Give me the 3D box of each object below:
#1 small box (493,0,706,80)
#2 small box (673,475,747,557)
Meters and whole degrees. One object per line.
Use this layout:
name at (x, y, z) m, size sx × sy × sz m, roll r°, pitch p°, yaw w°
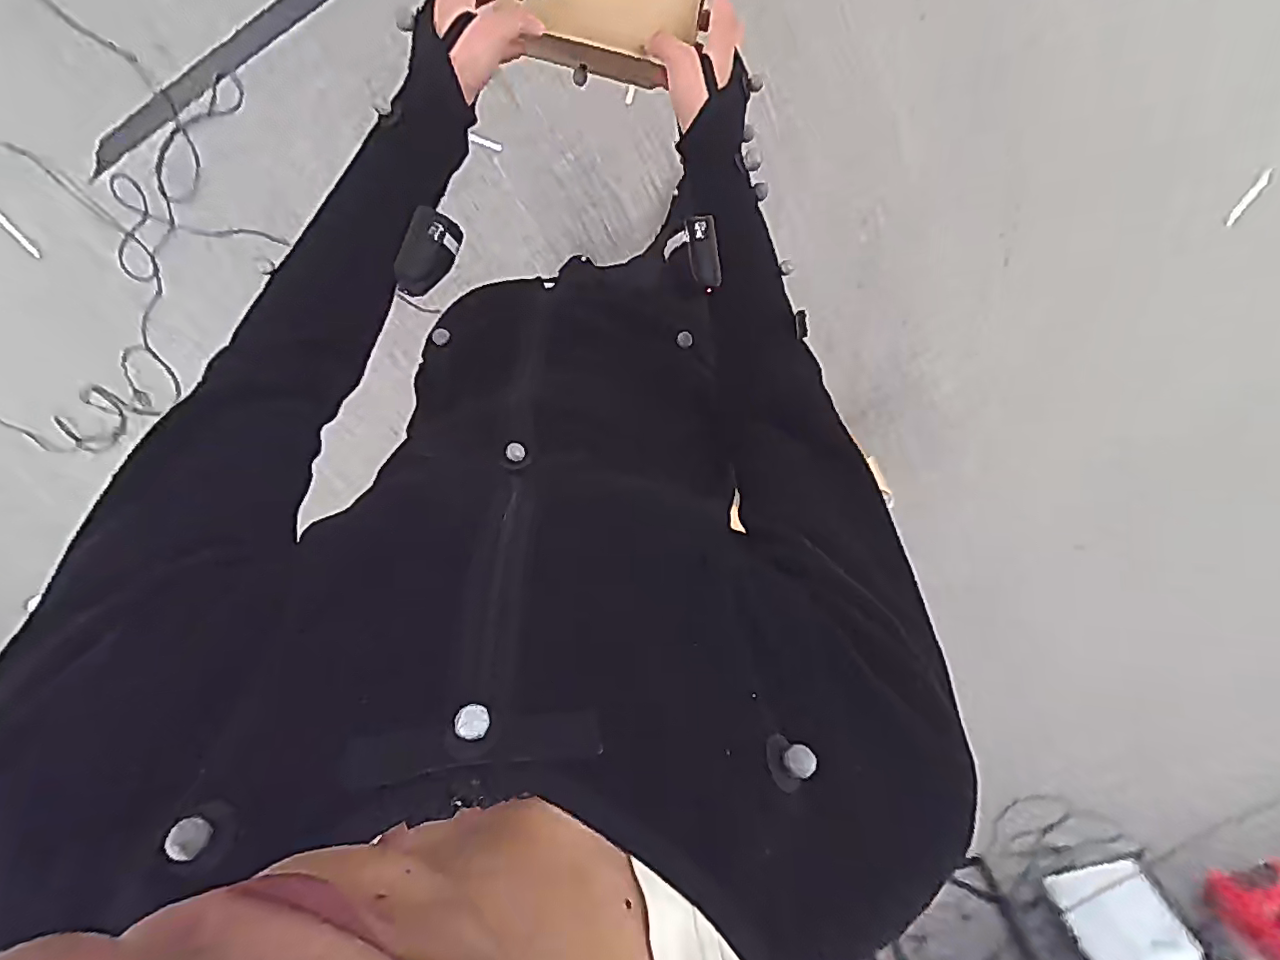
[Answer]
small box at (-0.038, -0.488, 0.494) m, size 0.179 × 0.176 × 0.168 m, roll 4°, pitch 120°, yaw -17°
small box at (0.219, 0.110, 1.731) m, size 0.179 × 0.176 × 0.168 m, roll -24°, pitch 116°, yaw 12°
